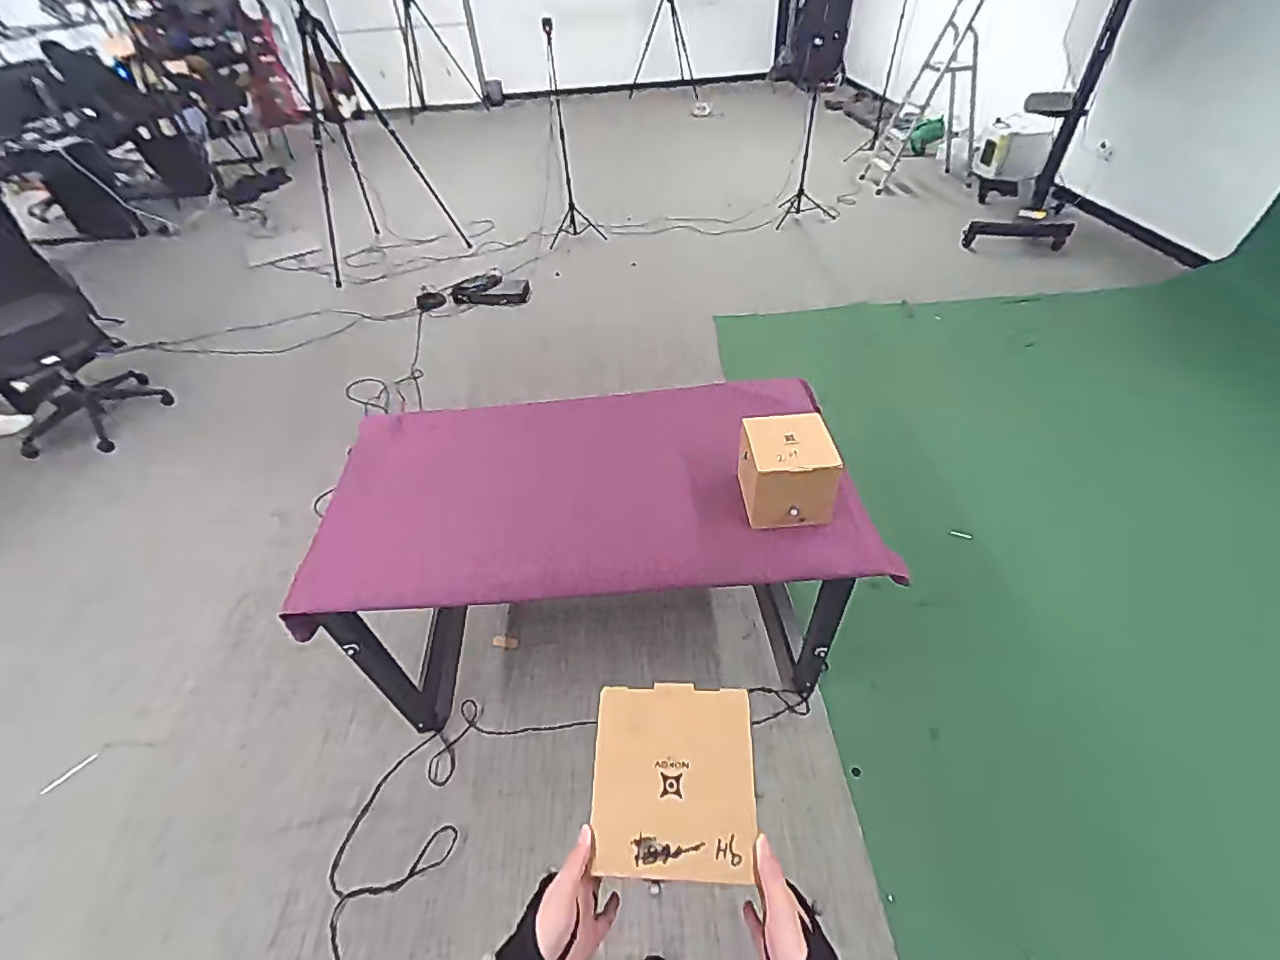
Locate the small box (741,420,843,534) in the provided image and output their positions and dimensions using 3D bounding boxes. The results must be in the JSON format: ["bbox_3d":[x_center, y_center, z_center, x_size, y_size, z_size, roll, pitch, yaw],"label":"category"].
[{"bbox_3d":[0.311,-0.006,1.149,0.168,0.176,0.179,-4,43,2],"label":"small box"}]

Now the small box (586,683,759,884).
[{"bbox_3d":[0.044,0.347,0.619,0.168,0.176,0.179,-2,54,8],"label":"small box"}]
